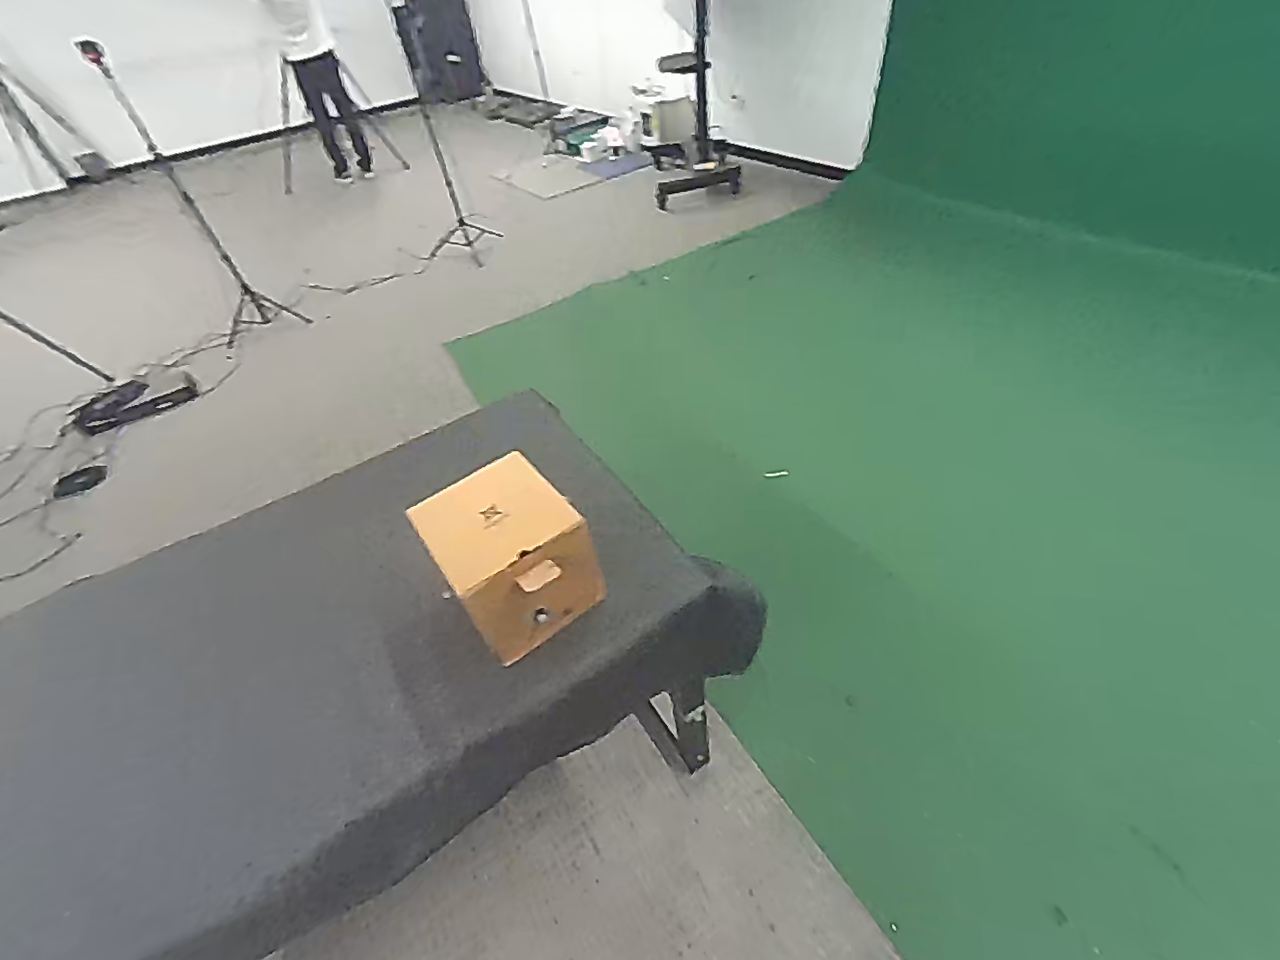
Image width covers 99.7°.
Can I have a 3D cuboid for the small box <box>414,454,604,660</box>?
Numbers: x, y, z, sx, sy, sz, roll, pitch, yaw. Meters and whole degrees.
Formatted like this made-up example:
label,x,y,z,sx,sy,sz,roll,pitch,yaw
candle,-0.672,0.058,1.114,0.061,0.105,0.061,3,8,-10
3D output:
label,x,y,z,sx,sy,sz,roll,pitch,yaw
small box,-0.168,0.102,0.724,0.168,0.176,0.179,-32,49,-22
